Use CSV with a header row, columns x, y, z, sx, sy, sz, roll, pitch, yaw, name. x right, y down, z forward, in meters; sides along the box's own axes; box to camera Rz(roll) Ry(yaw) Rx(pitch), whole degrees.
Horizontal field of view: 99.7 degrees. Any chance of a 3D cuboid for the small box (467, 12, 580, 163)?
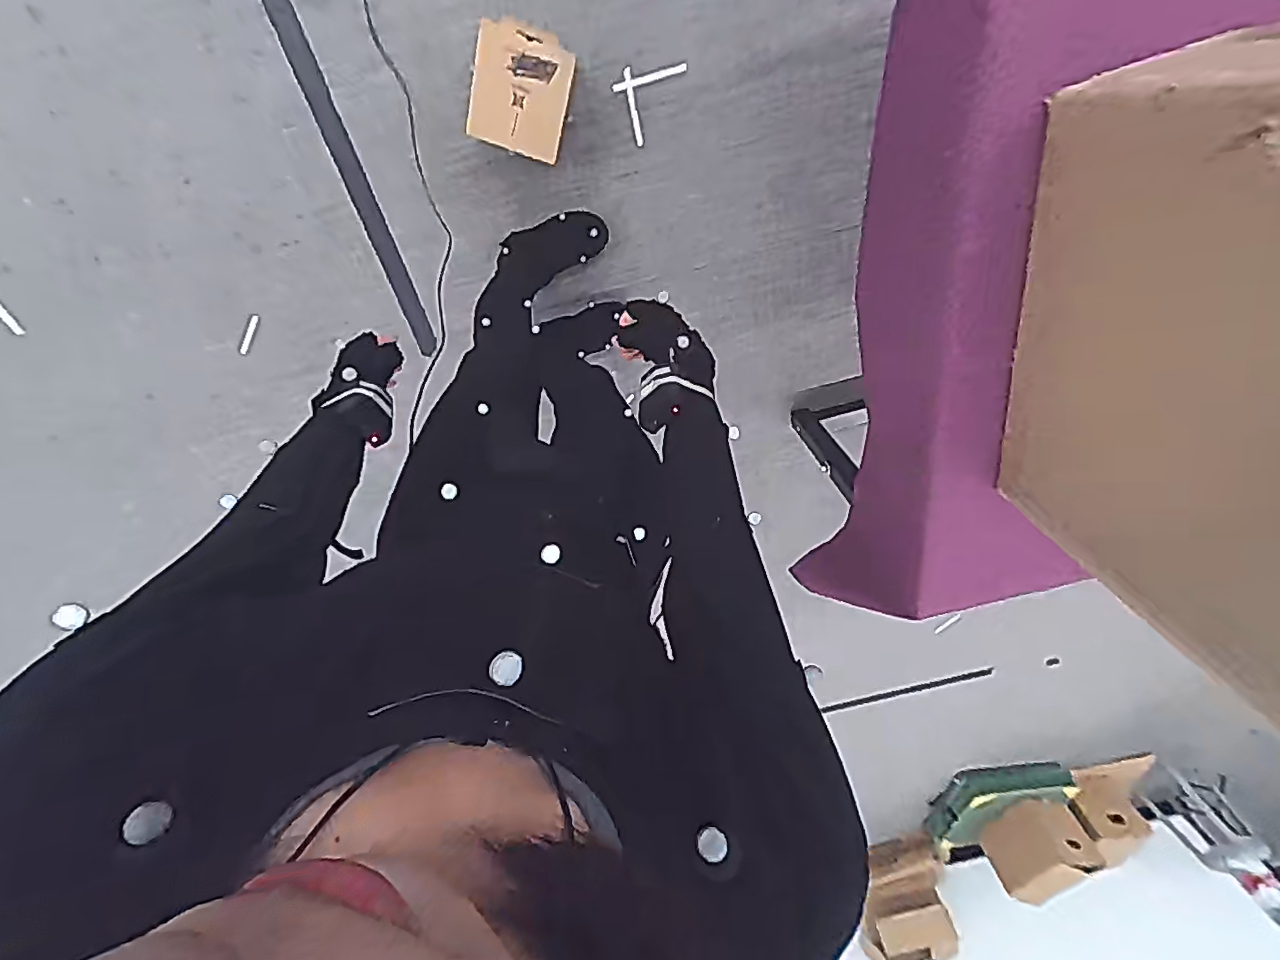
x,y,z,sx,sy,sz,roll,pitch,yaw,name
-0.217,-0.724,1.012,0.168,0.176,0.179,12,122,-15,small box
